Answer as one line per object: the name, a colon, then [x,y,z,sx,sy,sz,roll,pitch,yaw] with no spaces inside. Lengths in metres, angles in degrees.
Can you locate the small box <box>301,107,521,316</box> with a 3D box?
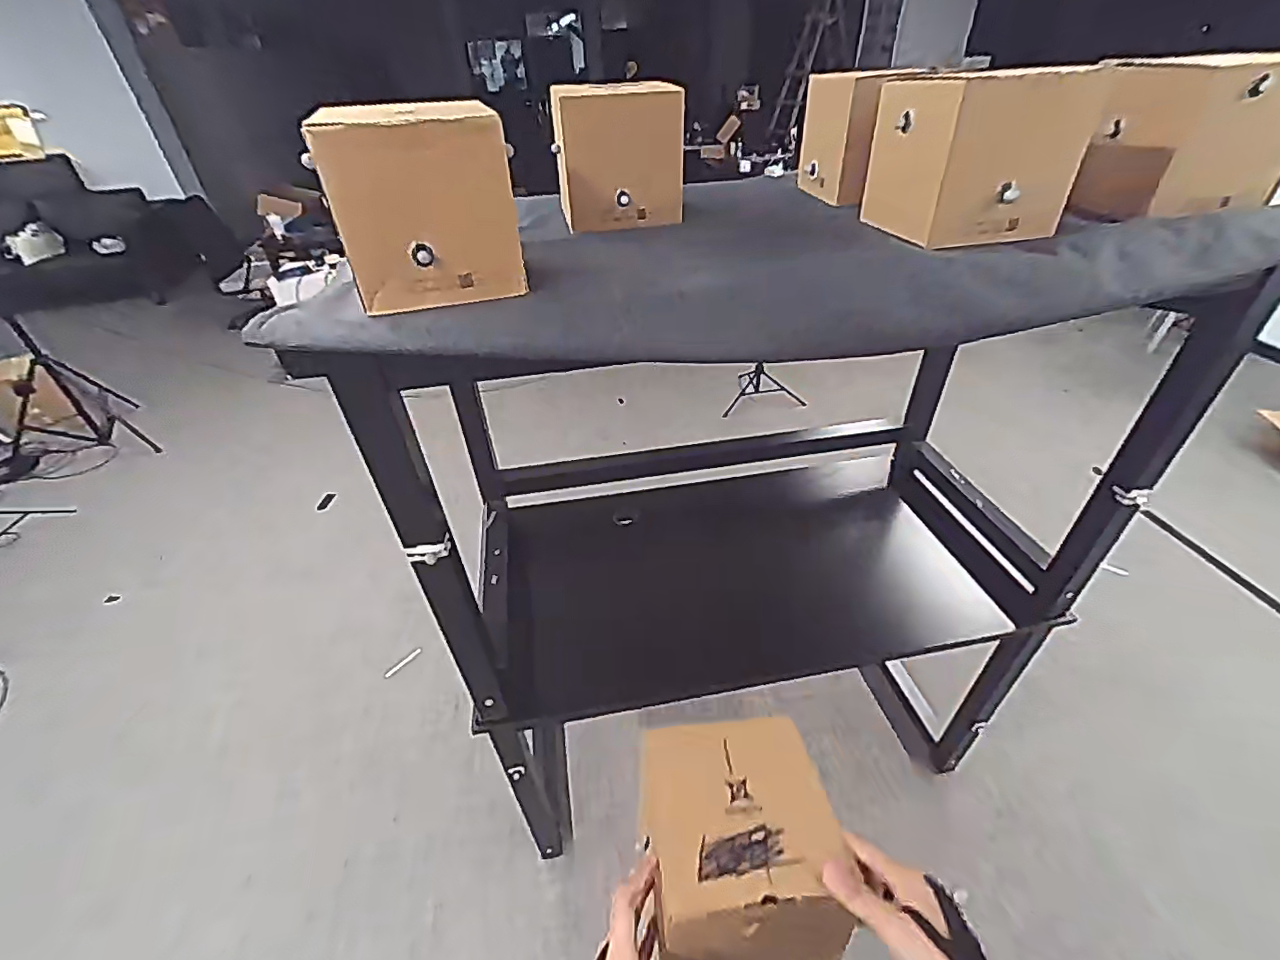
small box: [-0.233,-0.292,0.583,0.168,0.176,0.179,-14,40,-14]

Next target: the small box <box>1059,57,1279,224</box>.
small box: [0.700,-0.446,0.712,0.168,0.176,0.179,-7,37,-3]

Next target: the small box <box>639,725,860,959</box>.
small box: [0.090,0.381,0.537,0.168,0.176,0.179,-3,26,-7]

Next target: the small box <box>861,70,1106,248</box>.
small box: [0.398,-0.396,0.669,0.168,0.176,0.179,-8,37,-4]

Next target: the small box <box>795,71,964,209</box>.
small box: [0.369,-0.546,0.868,0.179,0.176,0.168,-7,37,-5]
